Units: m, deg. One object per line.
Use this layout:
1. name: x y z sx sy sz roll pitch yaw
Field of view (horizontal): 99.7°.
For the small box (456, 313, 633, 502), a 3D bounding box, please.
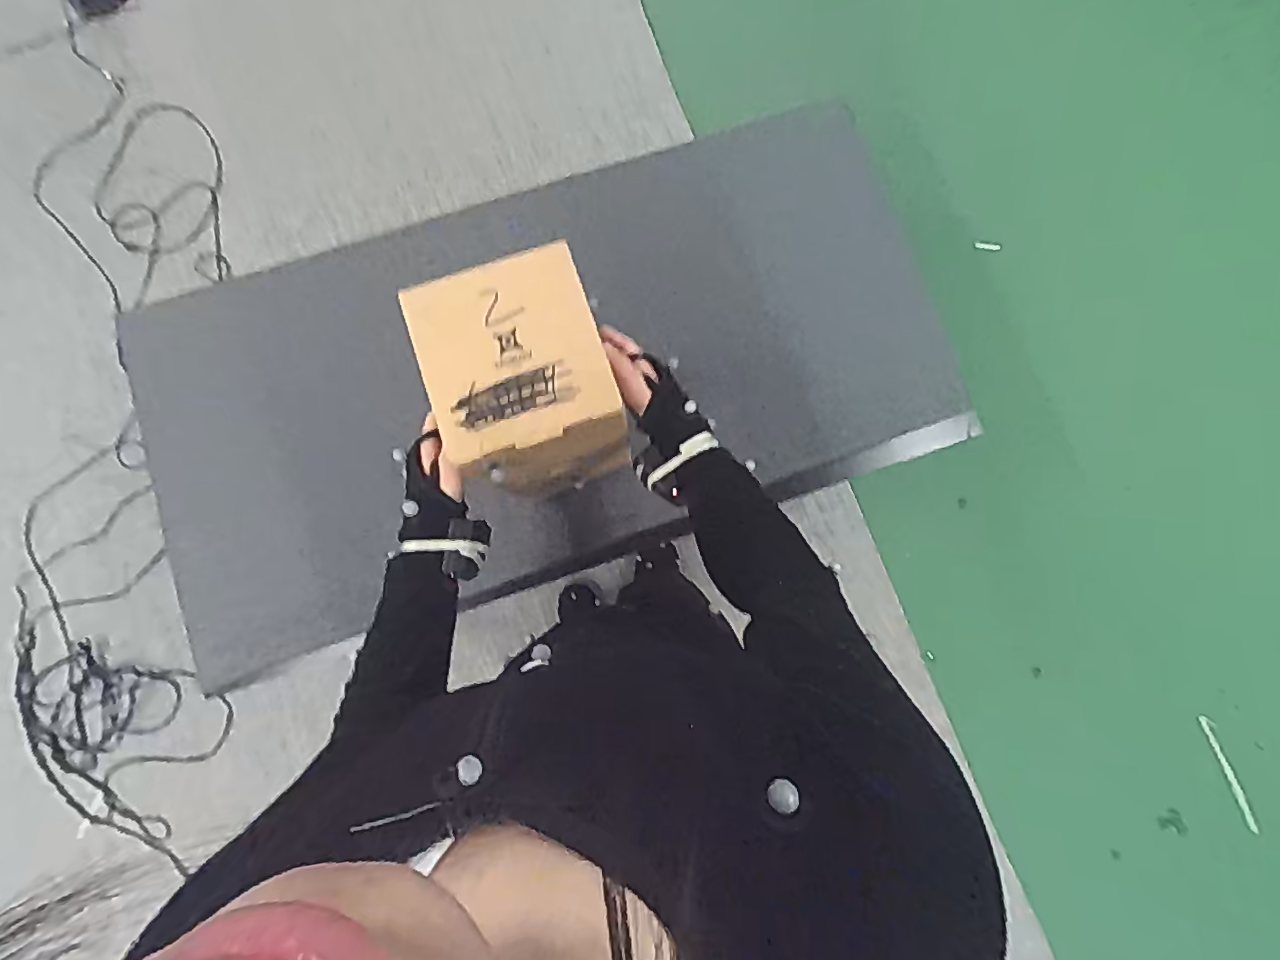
1. small box: -0.117 -0.085 0.722 0.168 0.176 0.179 -22 83 -3
